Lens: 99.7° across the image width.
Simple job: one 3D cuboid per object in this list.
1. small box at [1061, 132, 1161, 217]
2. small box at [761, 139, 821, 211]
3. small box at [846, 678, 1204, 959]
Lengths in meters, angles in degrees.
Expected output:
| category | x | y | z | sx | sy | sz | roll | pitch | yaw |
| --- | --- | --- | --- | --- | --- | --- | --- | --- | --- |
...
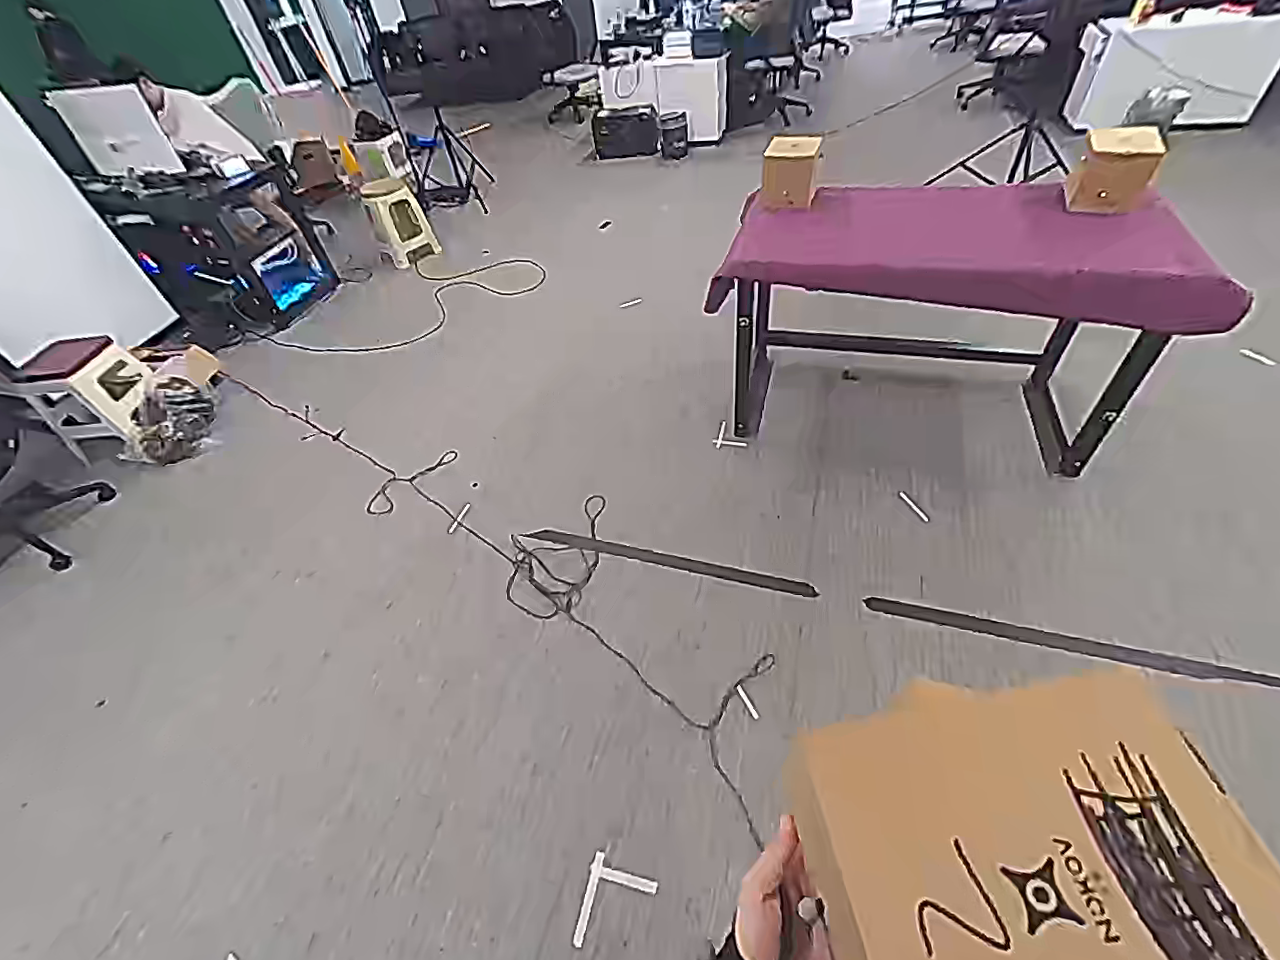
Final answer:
| category | x | y | z | sx | sy | sz | roll | pitch | yaw |
| --- | --- | --- | --- | --- | --- | --- | --- | --- | --- |
| small box | 1.381 | -0.905 | 1.601 | 0.168 | 0.176 | 0.179 | 12 | 54 | 19 |
| small box | 0.517 | -1.055 | 1.867 | 0.168 | 0.176 | 0.179 | 12 | 52 | 19 |
| small box | 0.284 | 0.289 | 0.439 | 0.179 | 0.176 | 0.168 | 13 | 55 | 16 |
